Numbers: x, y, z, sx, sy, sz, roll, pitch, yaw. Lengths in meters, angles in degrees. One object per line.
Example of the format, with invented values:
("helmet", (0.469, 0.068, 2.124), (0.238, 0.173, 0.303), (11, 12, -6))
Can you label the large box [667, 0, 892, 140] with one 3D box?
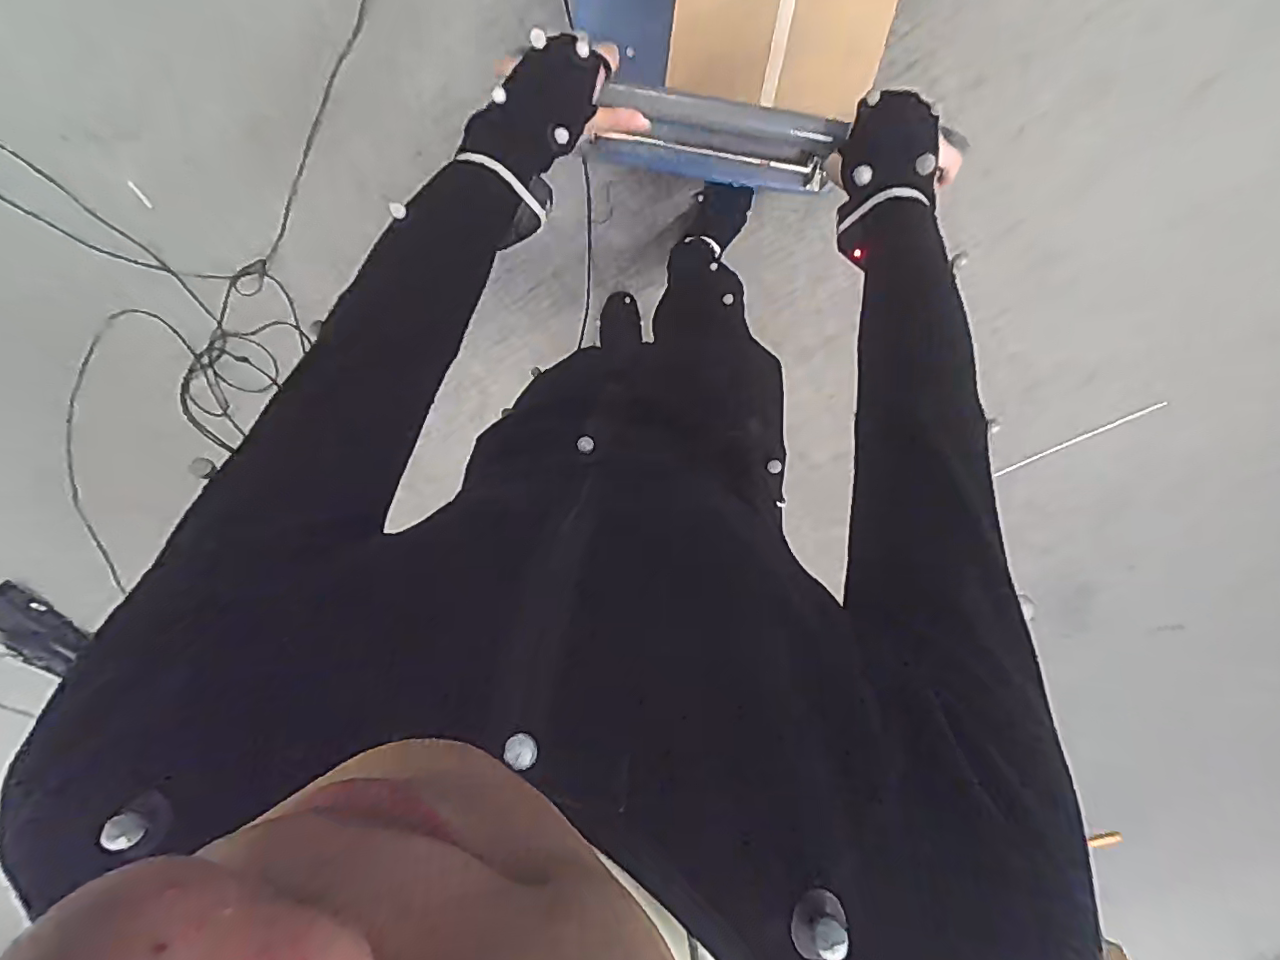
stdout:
("large box", (0.227, -0.818, 0.890), (0.320, 0.320, 0.408), (8, 120, -1))
